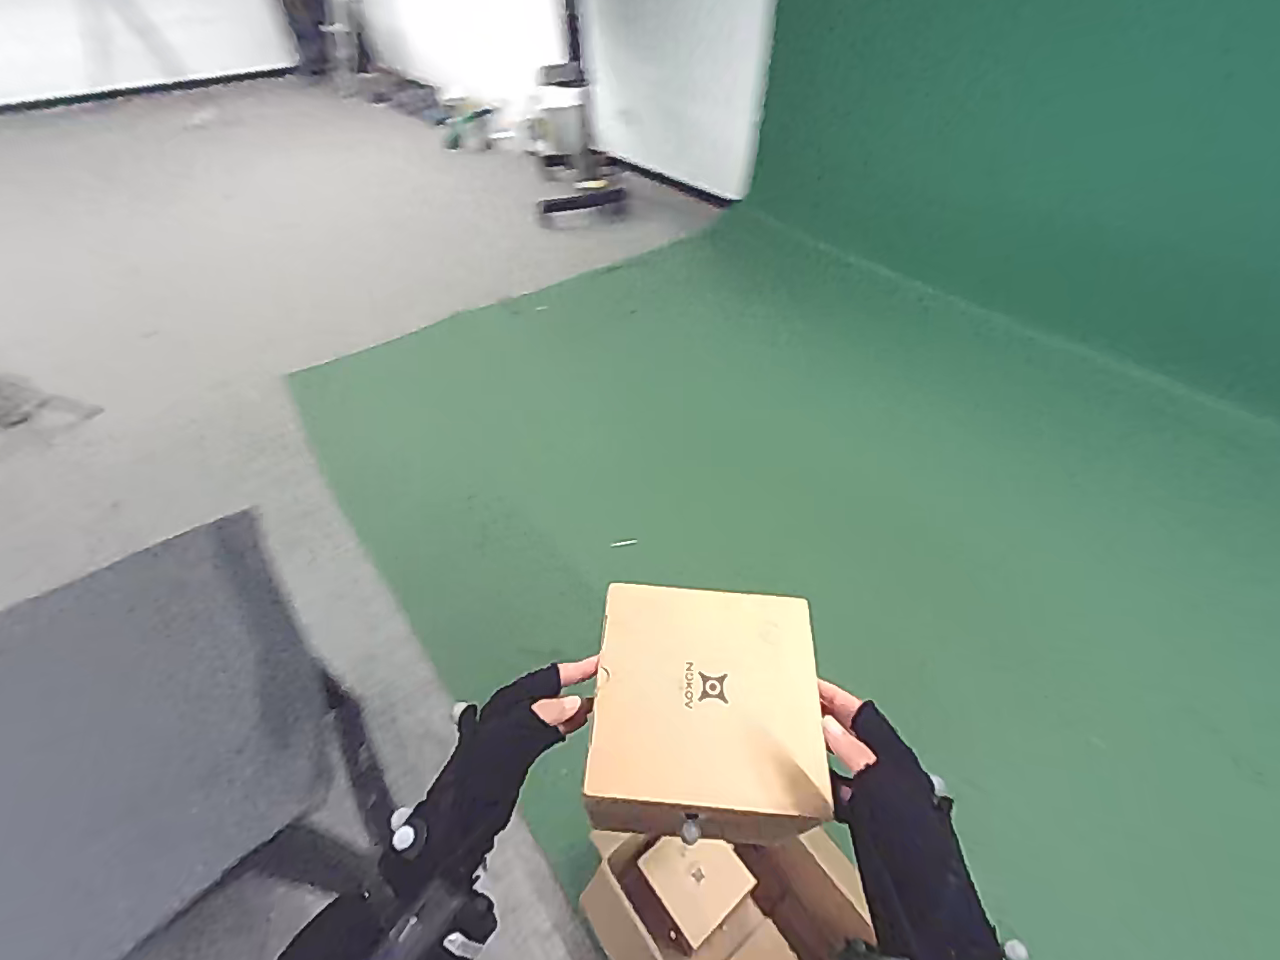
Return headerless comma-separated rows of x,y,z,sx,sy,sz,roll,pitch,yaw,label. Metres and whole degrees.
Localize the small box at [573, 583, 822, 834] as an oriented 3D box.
0.043,0.209,0.484,0.179,0.176,0.168,3,51,1,small box
